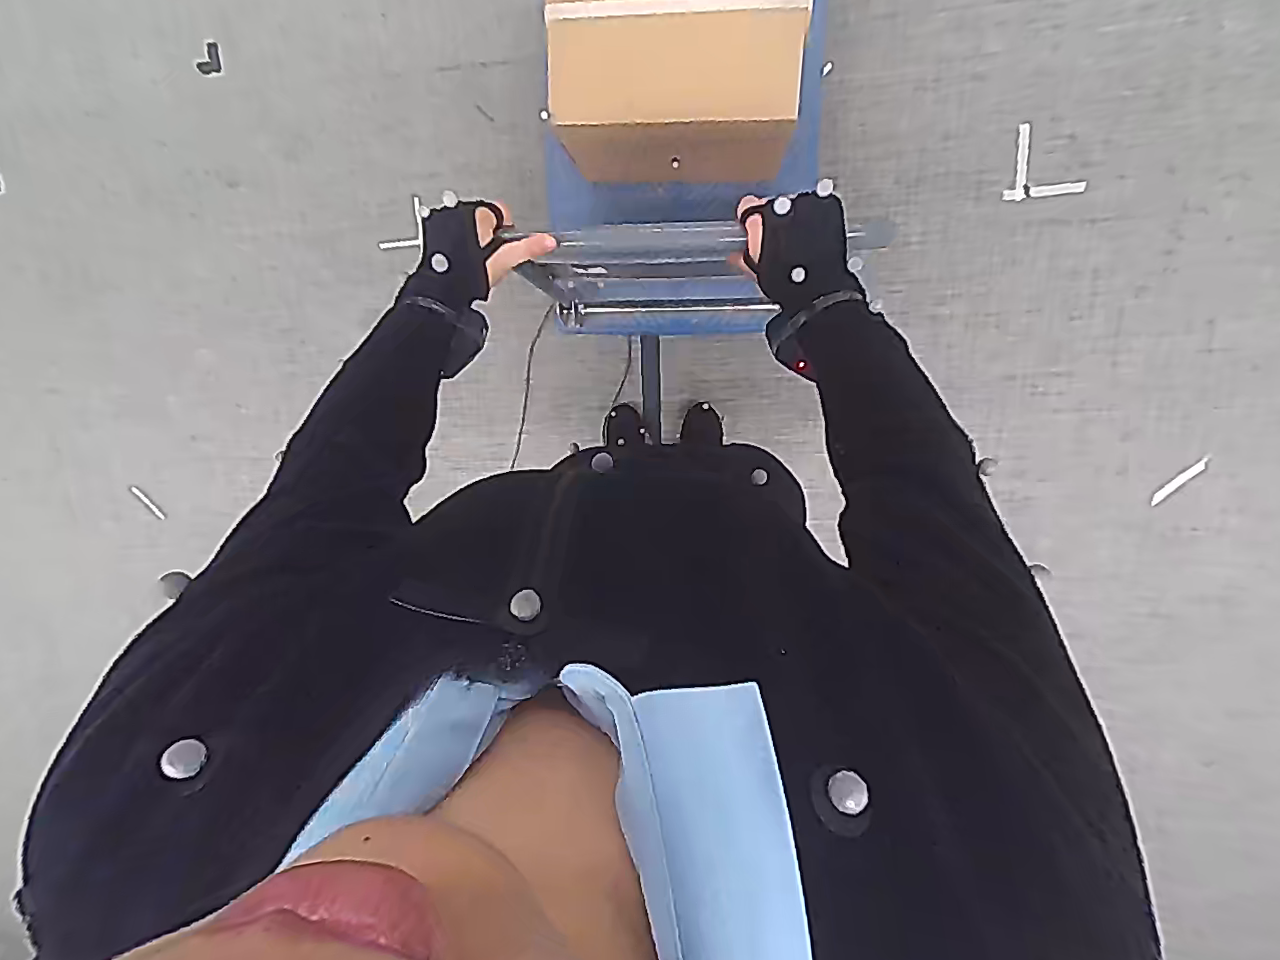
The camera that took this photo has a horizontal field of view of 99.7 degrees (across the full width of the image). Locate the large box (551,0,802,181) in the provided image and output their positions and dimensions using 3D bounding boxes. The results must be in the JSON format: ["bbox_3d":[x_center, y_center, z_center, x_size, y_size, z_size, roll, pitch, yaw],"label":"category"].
[{"bbox_3d":[0.072,-0.766,0.994,0.408,0.320,0.320,3,102,7],"label":"large box"}]
